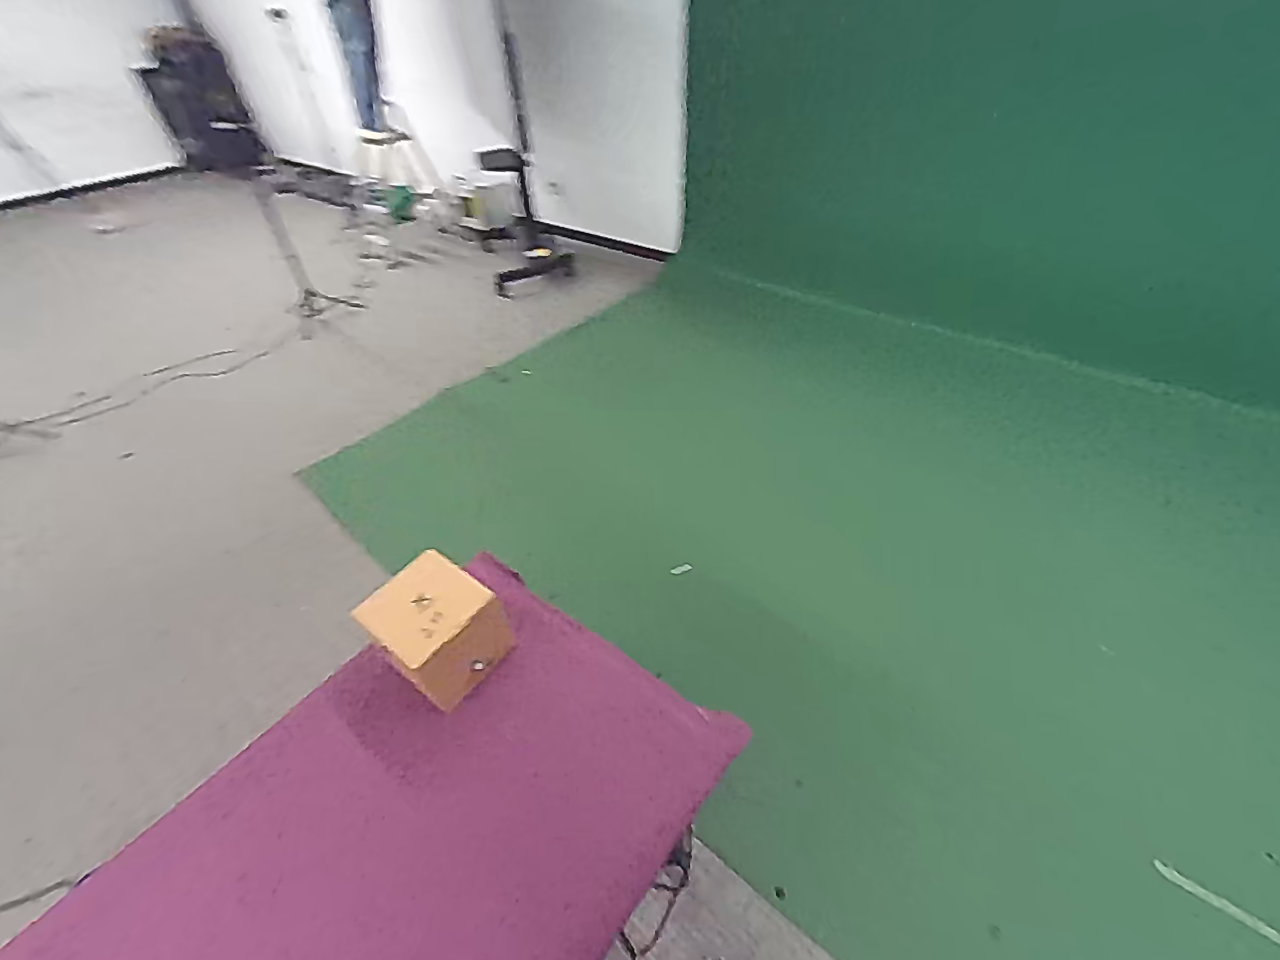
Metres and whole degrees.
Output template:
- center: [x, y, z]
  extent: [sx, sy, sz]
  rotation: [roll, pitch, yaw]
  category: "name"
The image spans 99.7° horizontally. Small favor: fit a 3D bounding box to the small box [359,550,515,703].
- center: [-0.355, 0.265, 0.969]
  extent: [0.179, 0.176, 0.168]
  rotation: [26, 54, 28]
  category: "small box"
